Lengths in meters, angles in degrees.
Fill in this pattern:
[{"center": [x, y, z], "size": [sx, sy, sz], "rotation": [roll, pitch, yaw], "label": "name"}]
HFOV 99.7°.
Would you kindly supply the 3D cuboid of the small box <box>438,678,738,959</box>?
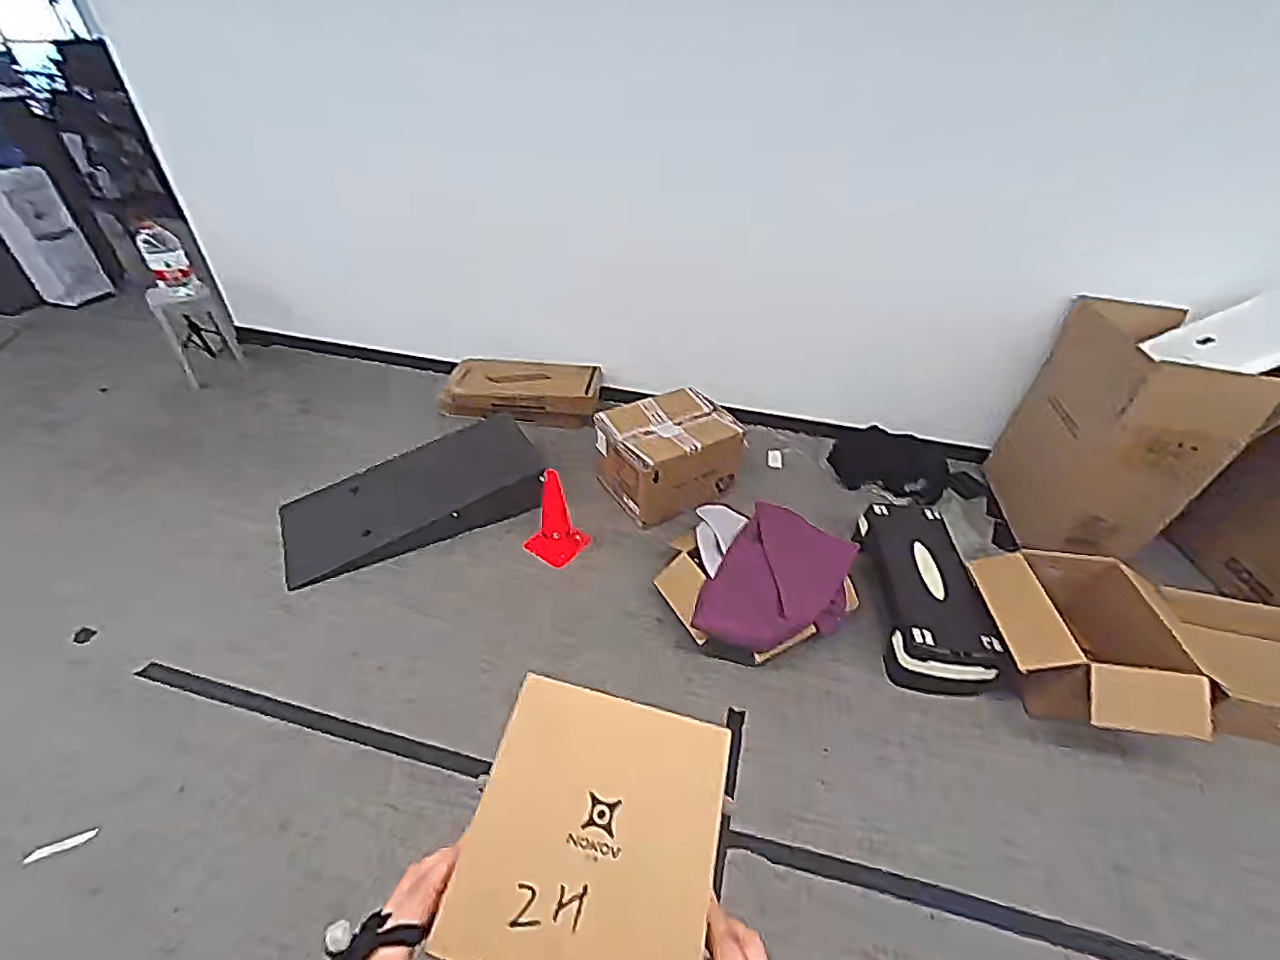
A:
[{"center": [-0.031, 0.289, 0.426], "size": [0.168, 0.176, 0.179], "rotation": [14, 51, 5], "label": "small box"}]
